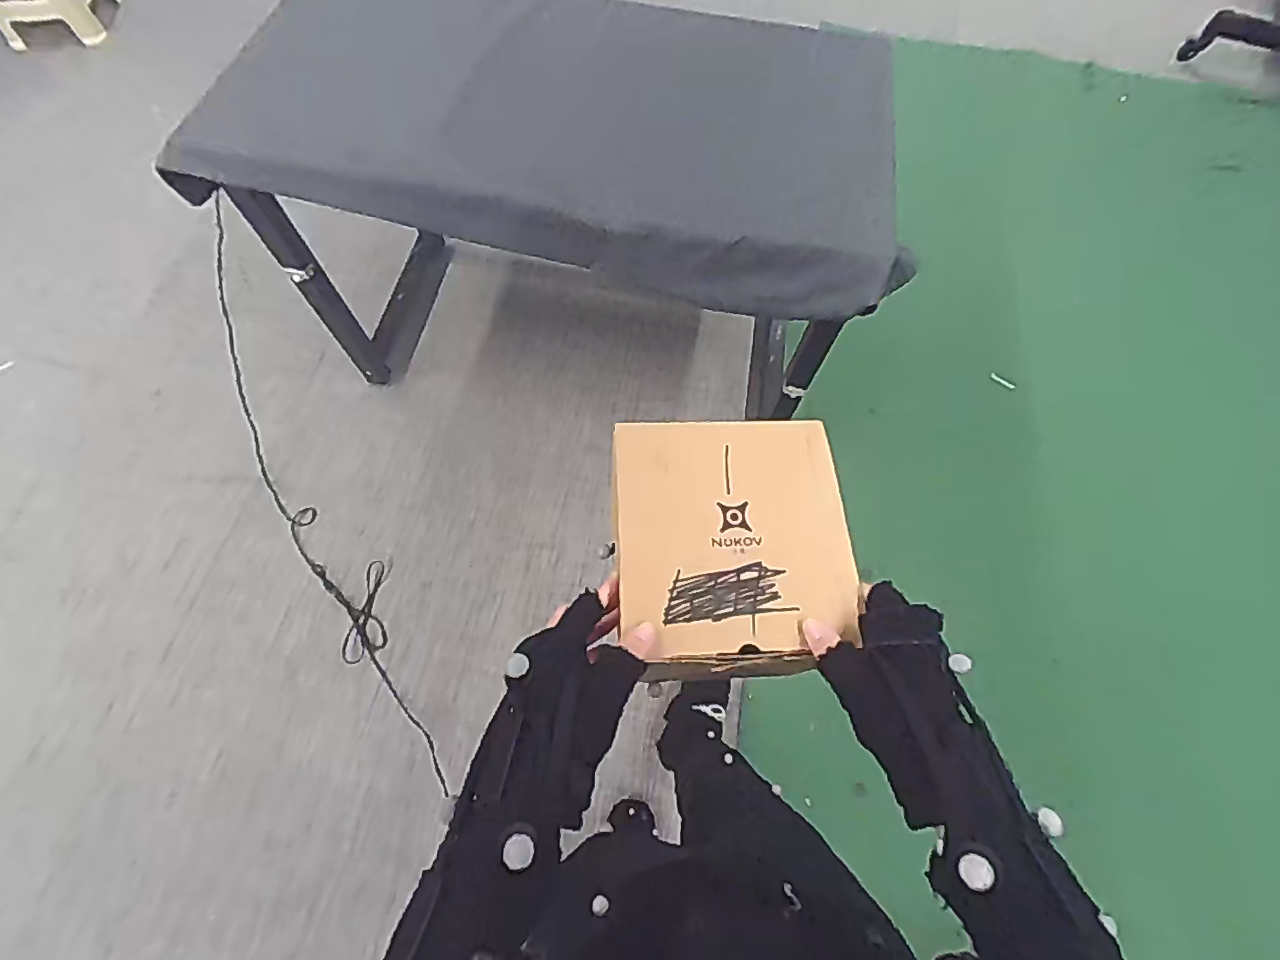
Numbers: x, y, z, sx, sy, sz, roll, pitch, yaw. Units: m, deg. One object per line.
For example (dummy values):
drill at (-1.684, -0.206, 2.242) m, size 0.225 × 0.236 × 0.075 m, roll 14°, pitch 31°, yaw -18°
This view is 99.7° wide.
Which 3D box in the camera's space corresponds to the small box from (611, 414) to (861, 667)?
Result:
small box at (0.060, 0.062, 0.460) m, size 0.168 × 0.176 × 0.179 m, roll -1°, pitch 65°, yaw -4°
